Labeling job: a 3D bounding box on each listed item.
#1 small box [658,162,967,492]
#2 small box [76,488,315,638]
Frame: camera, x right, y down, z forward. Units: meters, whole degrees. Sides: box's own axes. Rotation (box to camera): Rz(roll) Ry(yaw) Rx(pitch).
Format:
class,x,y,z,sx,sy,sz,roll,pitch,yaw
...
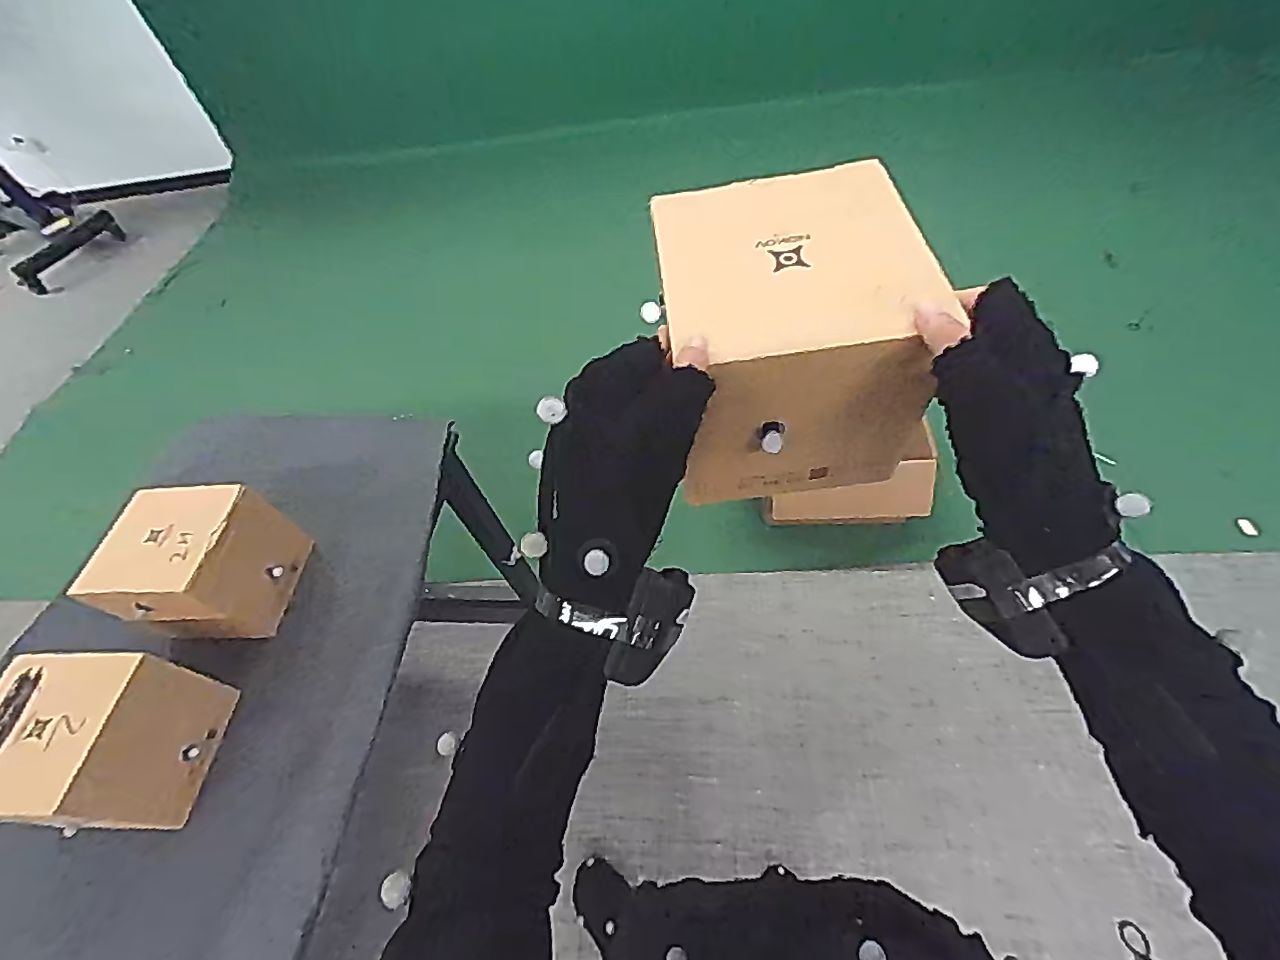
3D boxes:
class,x,y,z,sx,sy,sz,roll,pitch,yaw
small box,0.109,-0.102,0.416,0.168,0.176,0.179,-7,57,5
small box,-0.636,0.128,0.801,0.179,0.176,0.168,-3,54,7
